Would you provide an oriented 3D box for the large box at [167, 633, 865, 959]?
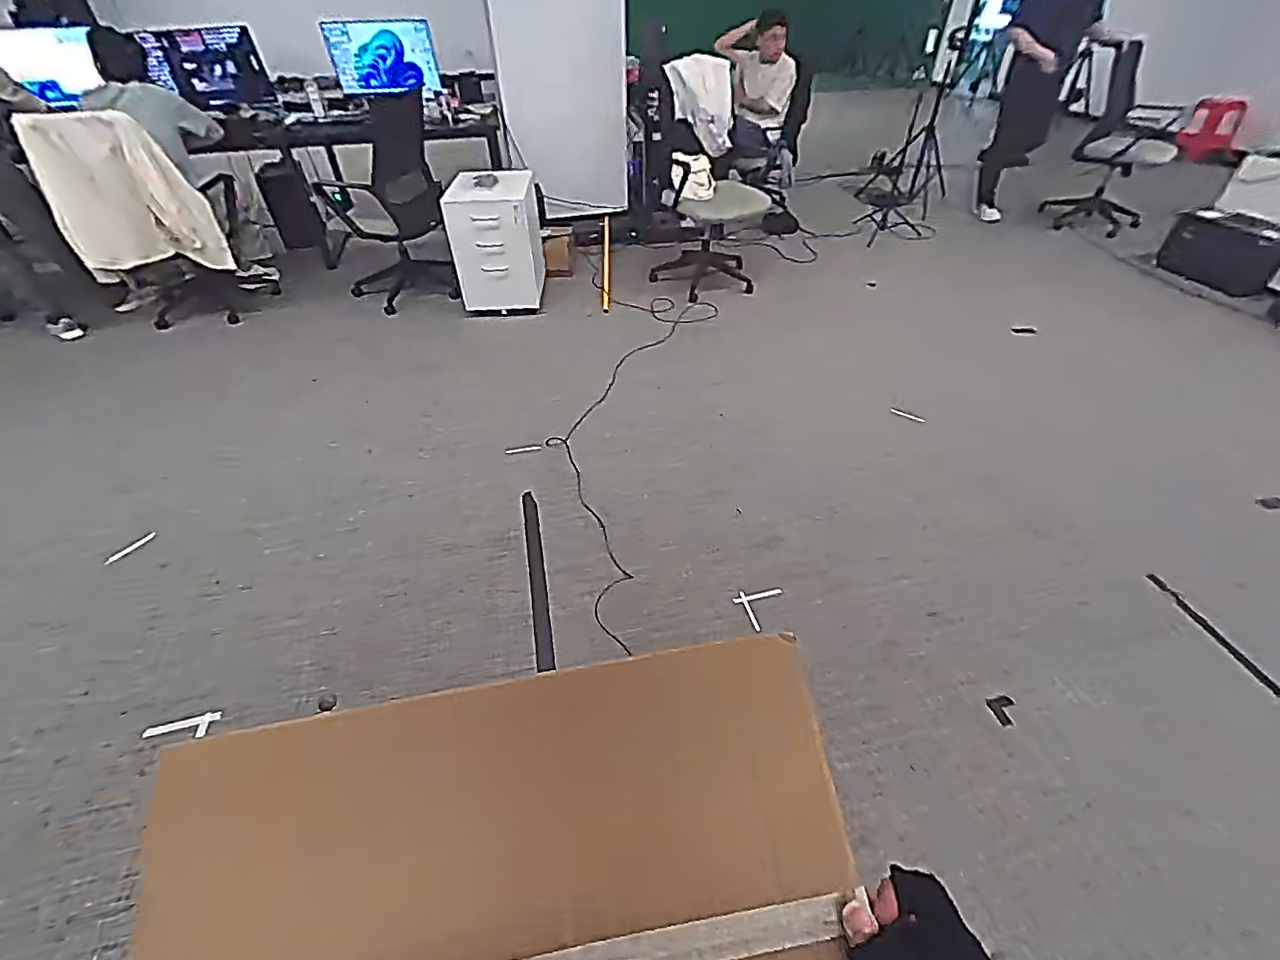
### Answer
[{"bbox_3d":[-0.072,0.333,0.448,0.408,0.320,0.320,-9,70,-3],"label":"large box"}]
